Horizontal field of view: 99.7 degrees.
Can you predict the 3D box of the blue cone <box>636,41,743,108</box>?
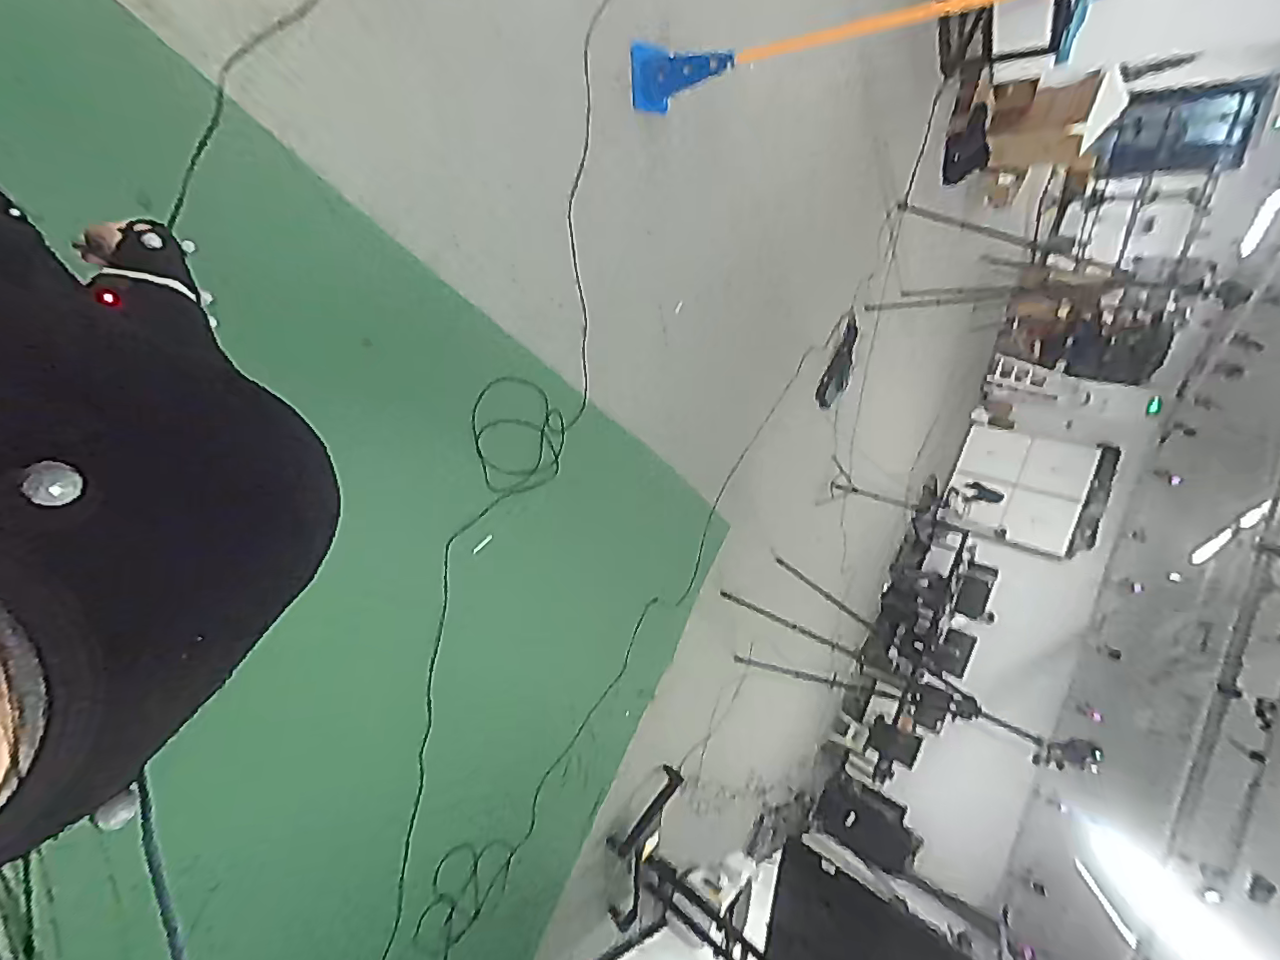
[{"bbox_3d":[0.176,-1.413,1.846,0.193,0.380,0.192,-33,129,-42],"label":"blue cone"}]
